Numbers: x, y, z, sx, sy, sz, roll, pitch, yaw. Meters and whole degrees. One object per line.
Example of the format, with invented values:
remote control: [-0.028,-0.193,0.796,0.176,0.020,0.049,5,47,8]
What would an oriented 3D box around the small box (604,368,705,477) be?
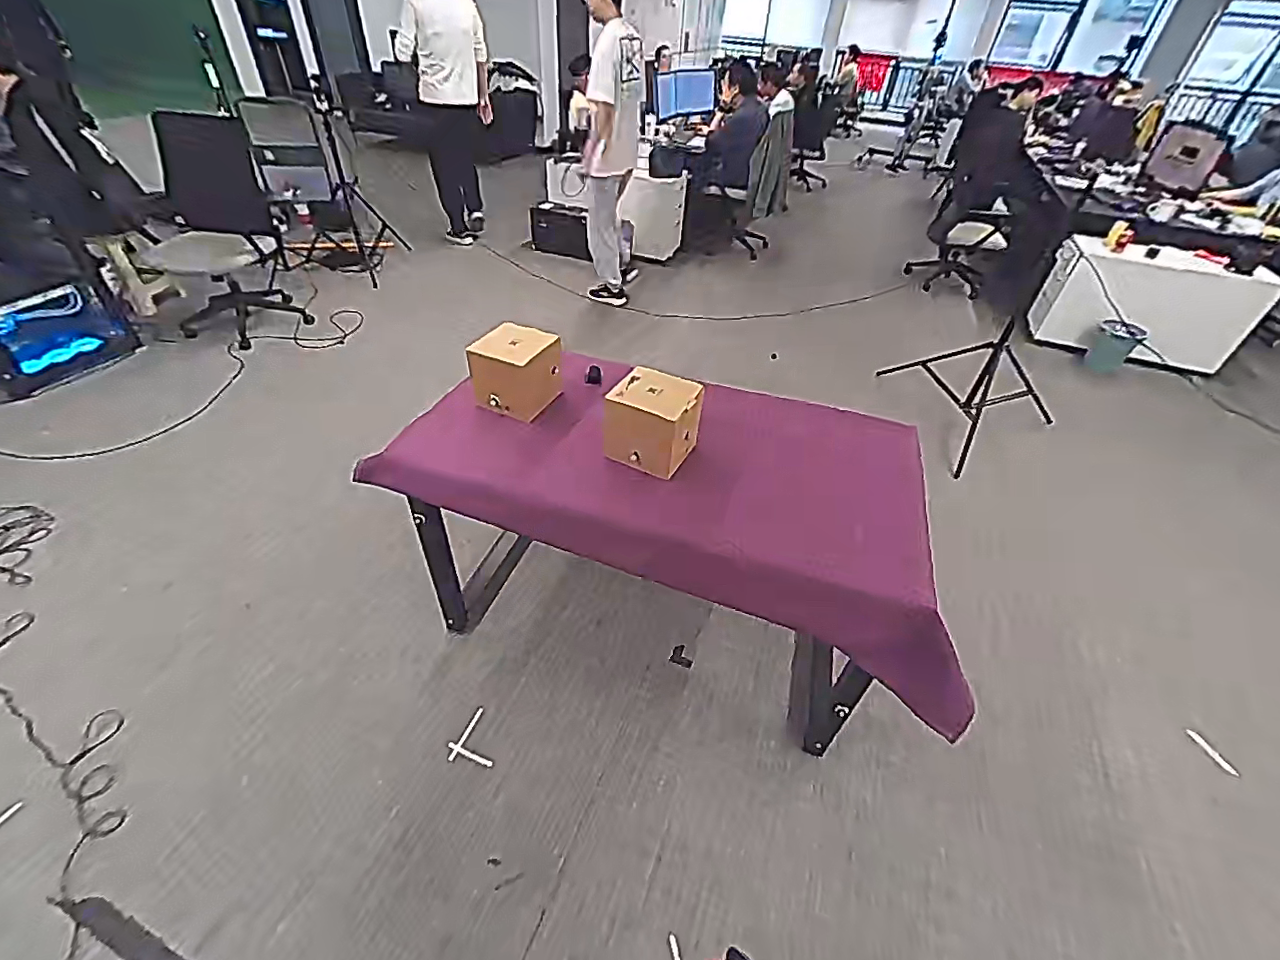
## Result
small box: [0.030,-0.130,1.257,0.179,0.176,0.168,22,44,18]

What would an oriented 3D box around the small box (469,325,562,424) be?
small box: [-0.311,-0.272,1.387,0.168,0.176,0.179,18,44,16]
